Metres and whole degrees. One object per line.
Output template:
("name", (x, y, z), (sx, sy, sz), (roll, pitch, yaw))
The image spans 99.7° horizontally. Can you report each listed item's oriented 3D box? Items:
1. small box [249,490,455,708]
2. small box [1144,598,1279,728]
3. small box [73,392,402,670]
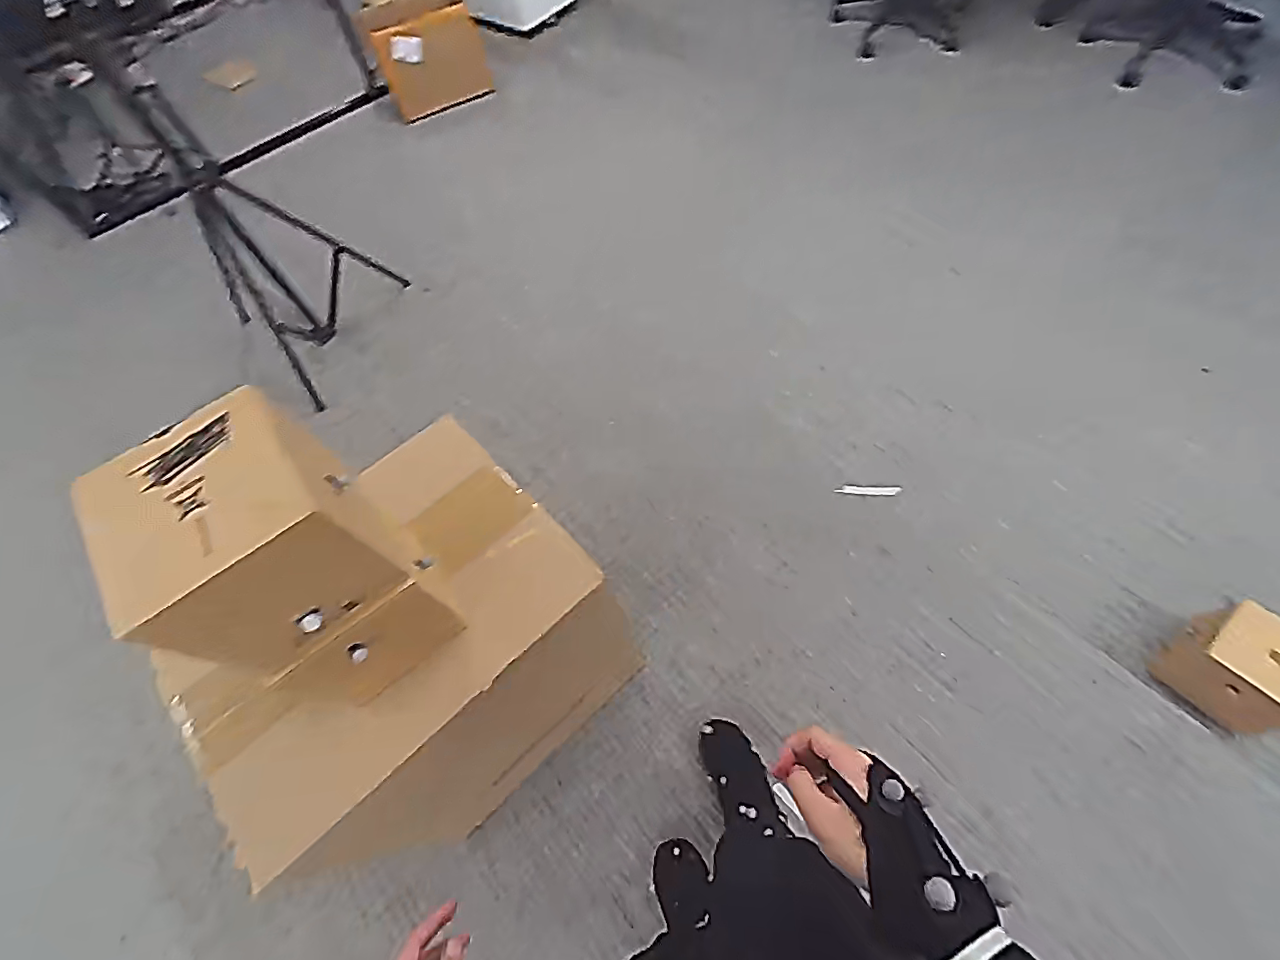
("small box", (-0.351, 0.150, 0.659), (0.179, 0.176, 0.168), (-37, 64, -14))
("small box", (1.193, 0.375, 1.091), (0.168, 0.176, 0.179), (-39, 64, -15))
("small box", (-0.371, 0.057, 0.524), (0.168, 0.176, 0.179), (-37, 65, -13))
